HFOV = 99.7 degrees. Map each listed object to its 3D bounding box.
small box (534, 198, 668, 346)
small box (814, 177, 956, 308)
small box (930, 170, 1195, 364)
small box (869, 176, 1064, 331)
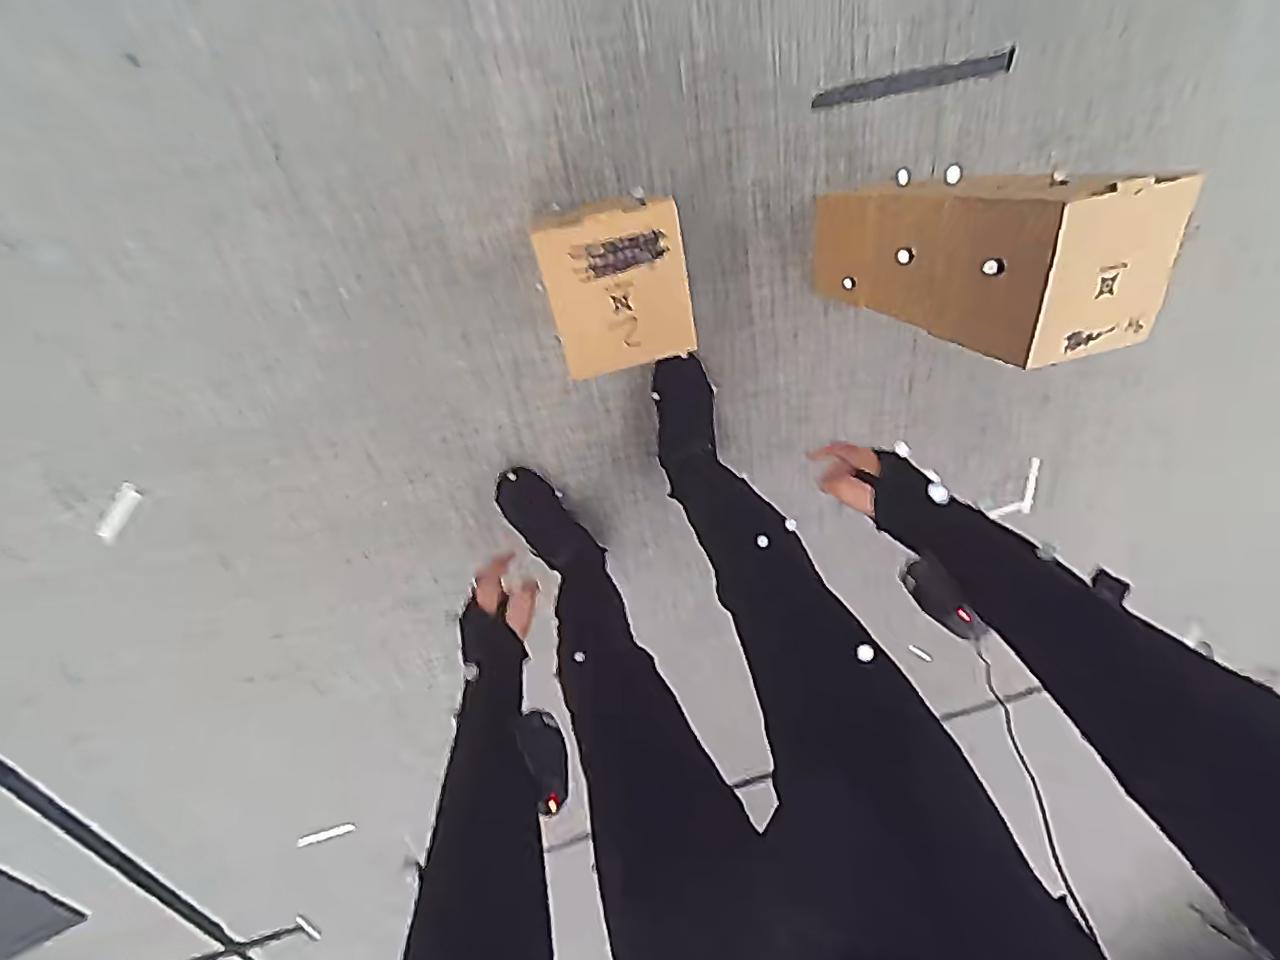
[{"bbox_3d":[-0.066,-0.333,0.854,0.168,0.176,0.179,-16,120,-4],"label":"small box"},{"bbox_3d":[0.416,-0.411,0.931,0.168,0.176,0.179,-13,121,-7],"label":"small box"},{"bbox_3d":[0.480,-0.258,0.648,0.168,0.176,0.179,-13,120,-7],"label":"small box"},{"bbox_3d":[0.458,-0.337,0.791,0.168,0.176,0.179,-13,120,-7],"label":"small box"}]
